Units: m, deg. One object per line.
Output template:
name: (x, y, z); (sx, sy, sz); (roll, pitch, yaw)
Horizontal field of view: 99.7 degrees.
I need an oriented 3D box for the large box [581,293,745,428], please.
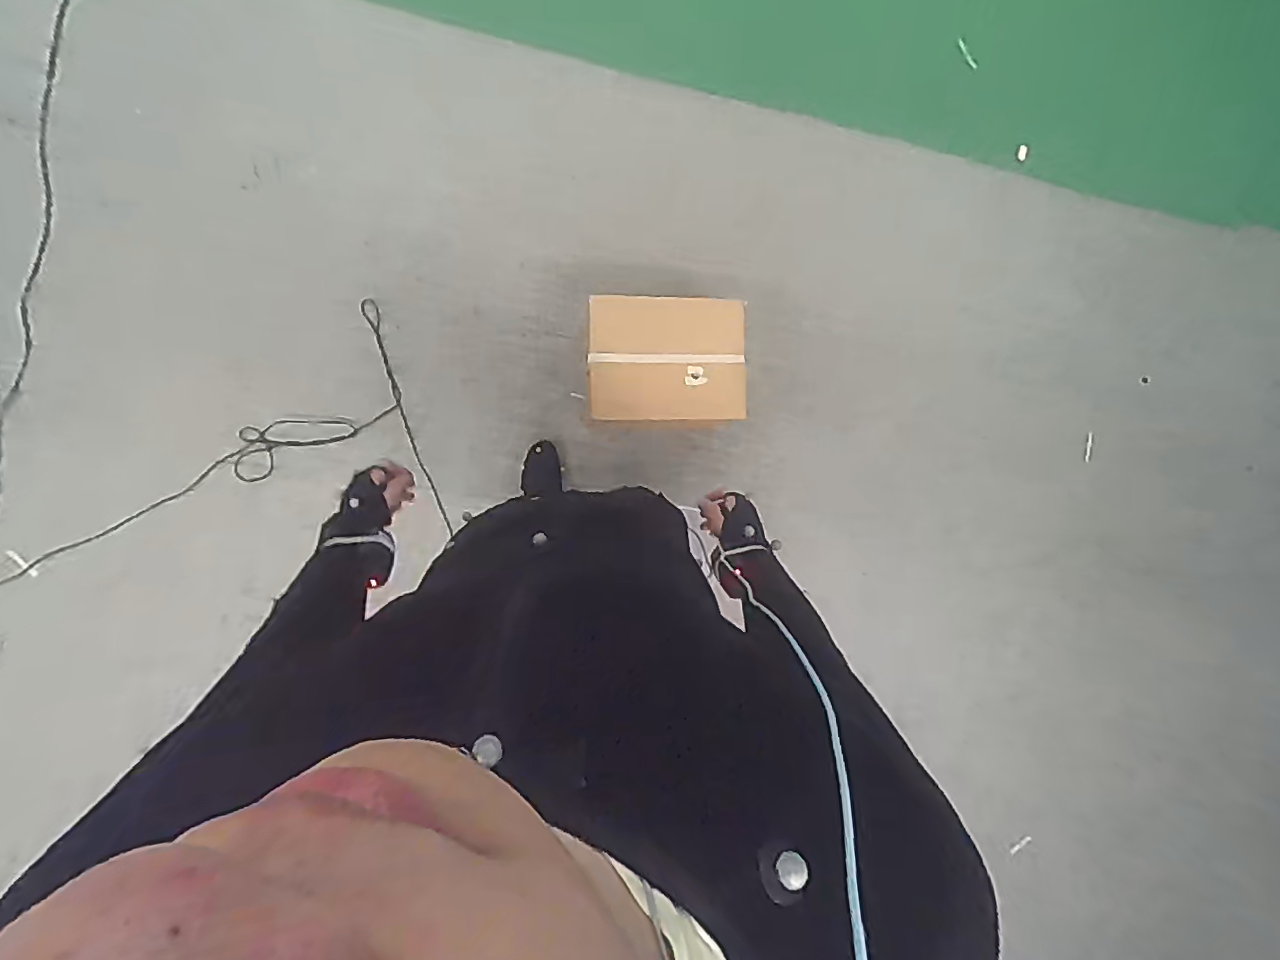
large box: (0.048, -0.316, 1.515); (0.408, 0.320, 0.320); (-1, 91, -9)
